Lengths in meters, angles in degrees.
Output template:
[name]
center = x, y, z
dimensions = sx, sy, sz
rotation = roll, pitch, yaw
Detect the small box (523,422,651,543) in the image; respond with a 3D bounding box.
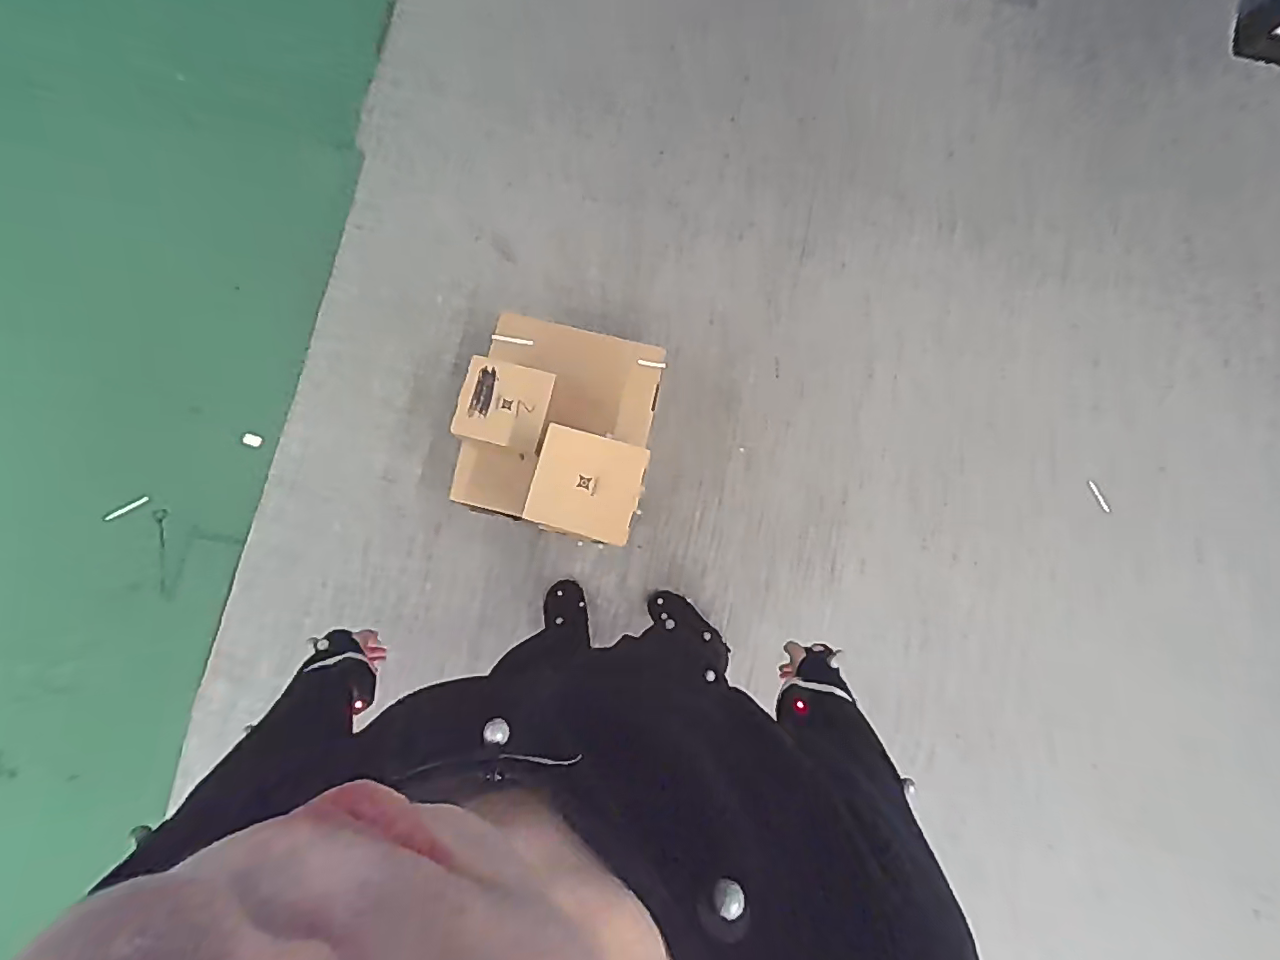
[small box]
center = -0.090, 0.014, 0.961
dimensions = 0.179, 0.176, 0.168
rotation = 16, 82, -2
